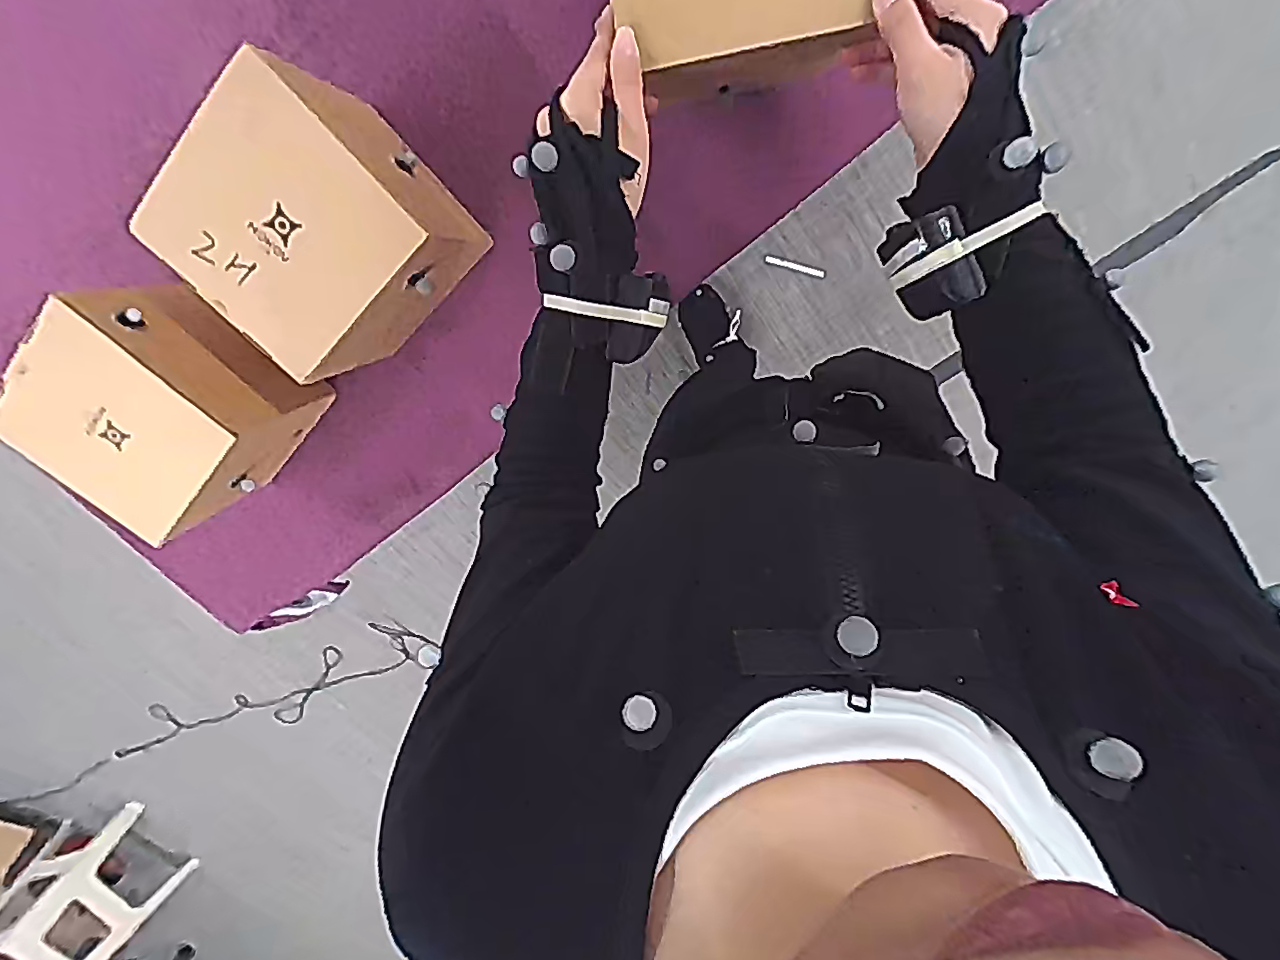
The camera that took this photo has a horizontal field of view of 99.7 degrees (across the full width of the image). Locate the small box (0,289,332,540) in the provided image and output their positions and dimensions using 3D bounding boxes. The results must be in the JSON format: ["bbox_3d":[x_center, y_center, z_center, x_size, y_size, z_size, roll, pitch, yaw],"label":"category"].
[{"bbox_3d":[-0.469,-0.078,0.558,0.179,0.176,0.168,43,108,-13],"label":"small box"}]

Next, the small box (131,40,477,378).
[{"bbox_3d":[-0.270,-0.223,0.484,0.179,0.176,0.168,-40,104,17],"label":"small box"}]
